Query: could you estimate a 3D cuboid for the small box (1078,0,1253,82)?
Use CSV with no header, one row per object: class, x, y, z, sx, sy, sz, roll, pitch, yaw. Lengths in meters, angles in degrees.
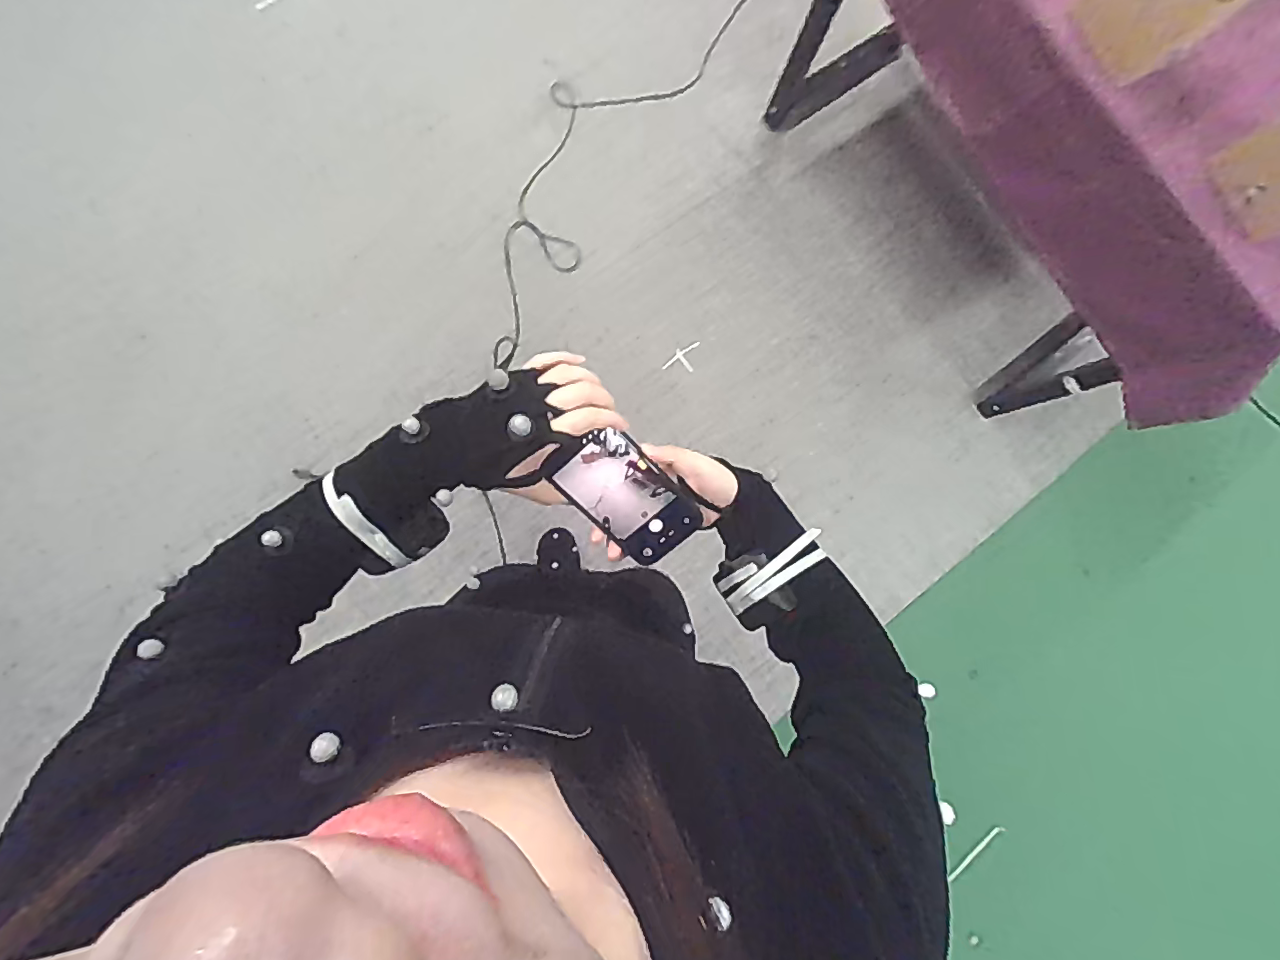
small box,0.896,-0.825,0.901,0.168,0.176,0.179,-30,90,-9
